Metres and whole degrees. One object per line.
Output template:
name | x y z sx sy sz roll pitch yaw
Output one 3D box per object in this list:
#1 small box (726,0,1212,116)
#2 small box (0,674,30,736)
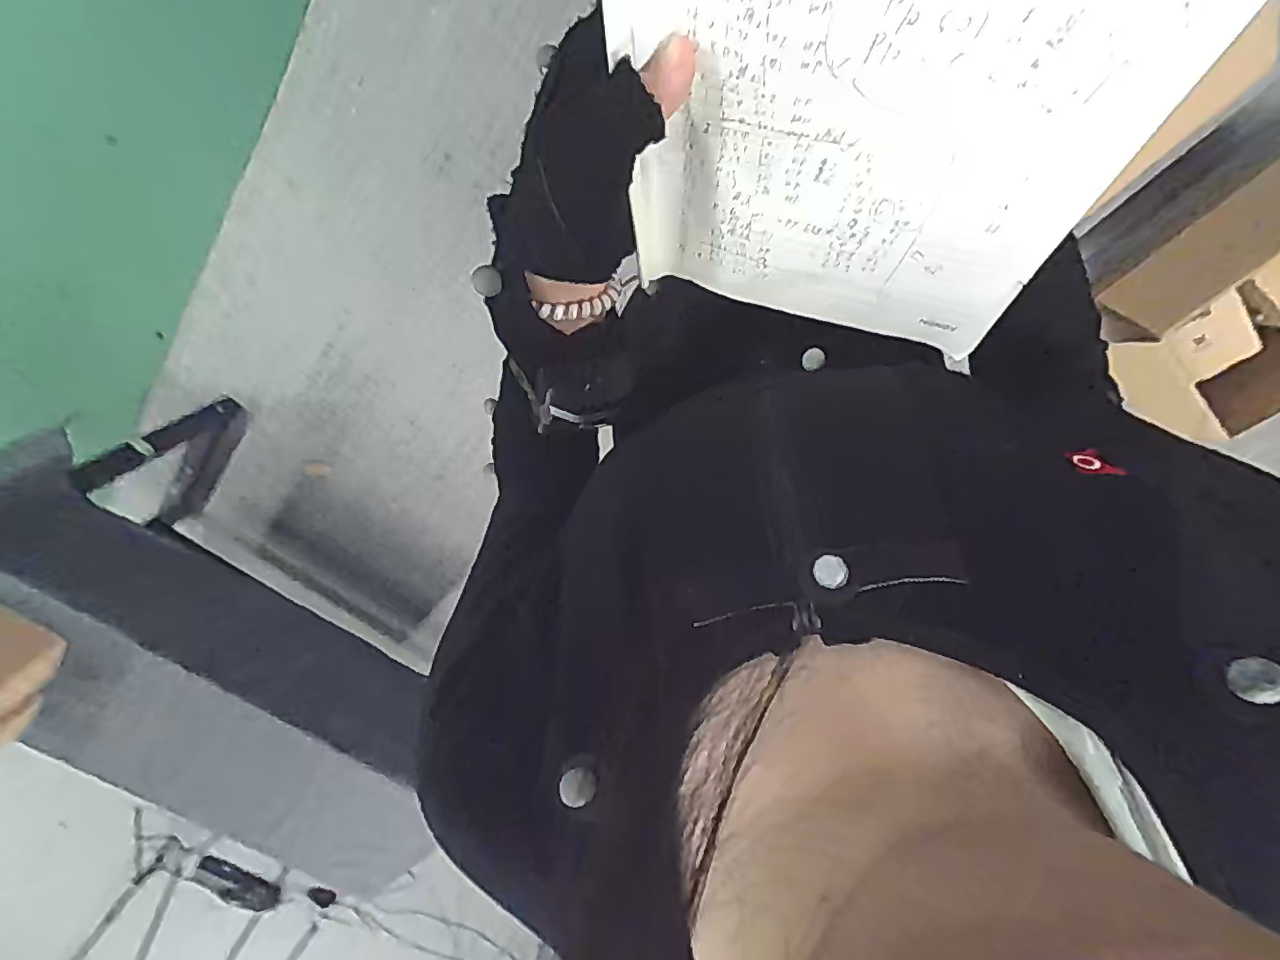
small box | 0.133 -0.273 0.210 0.168 0.176 0.179 7 133 -5
small box | -1.433 0.496 1.109 0.168 0.176 0.179 42 114 -17
